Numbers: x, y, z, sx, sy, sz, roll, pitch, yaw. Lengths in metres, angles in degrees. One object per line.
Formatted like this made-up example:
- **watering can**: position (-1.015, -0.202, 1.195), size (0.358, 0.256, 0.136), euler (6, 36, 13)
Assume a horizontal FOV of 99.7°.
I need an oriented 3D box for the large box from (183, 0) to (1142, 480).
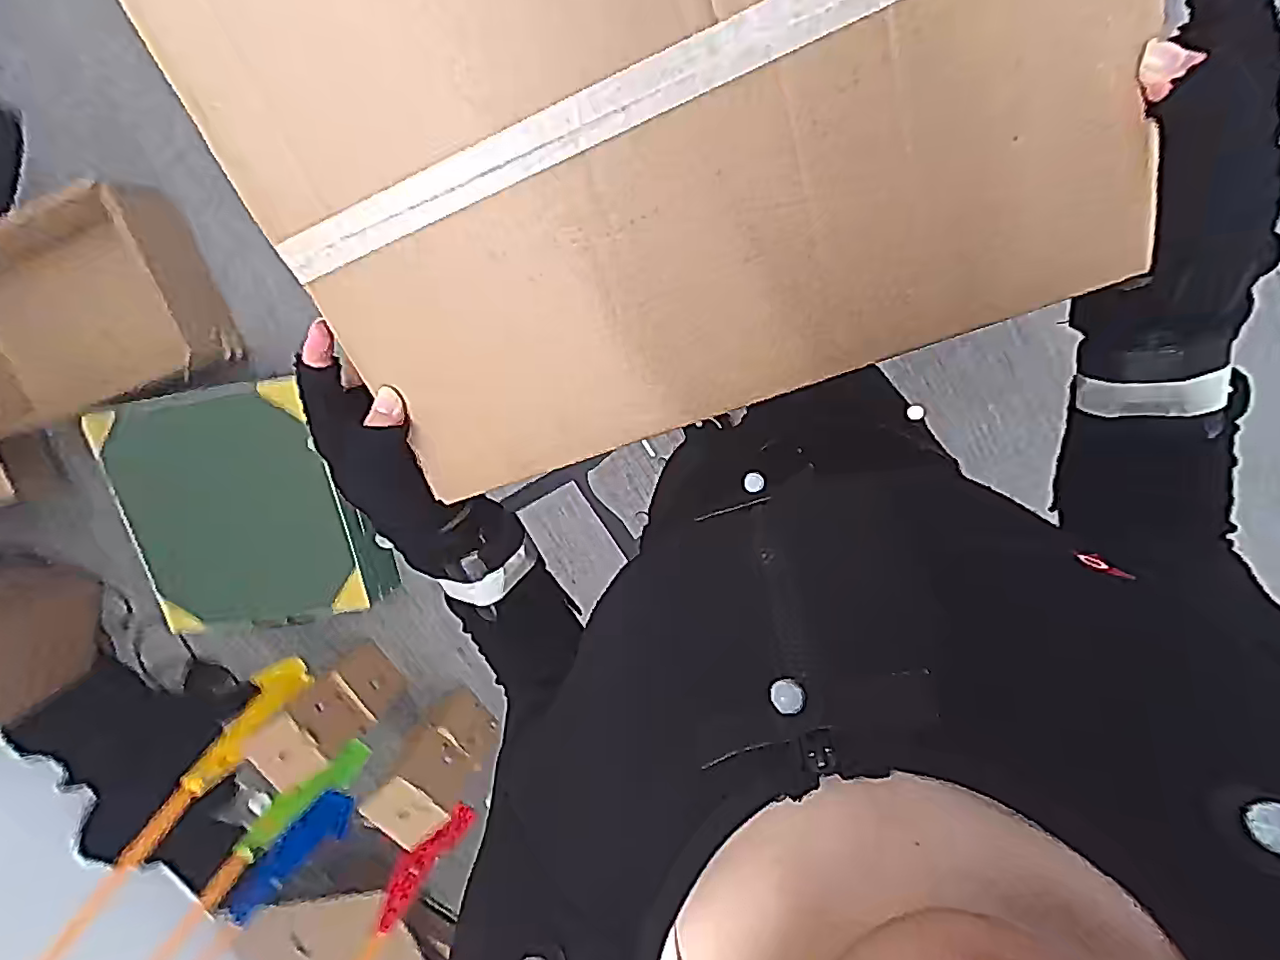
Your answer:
- **large box**: position (0.021, -0.249, 0.387), size (0.408, 0.320, 0.320), euler (-16, 116, 12)
